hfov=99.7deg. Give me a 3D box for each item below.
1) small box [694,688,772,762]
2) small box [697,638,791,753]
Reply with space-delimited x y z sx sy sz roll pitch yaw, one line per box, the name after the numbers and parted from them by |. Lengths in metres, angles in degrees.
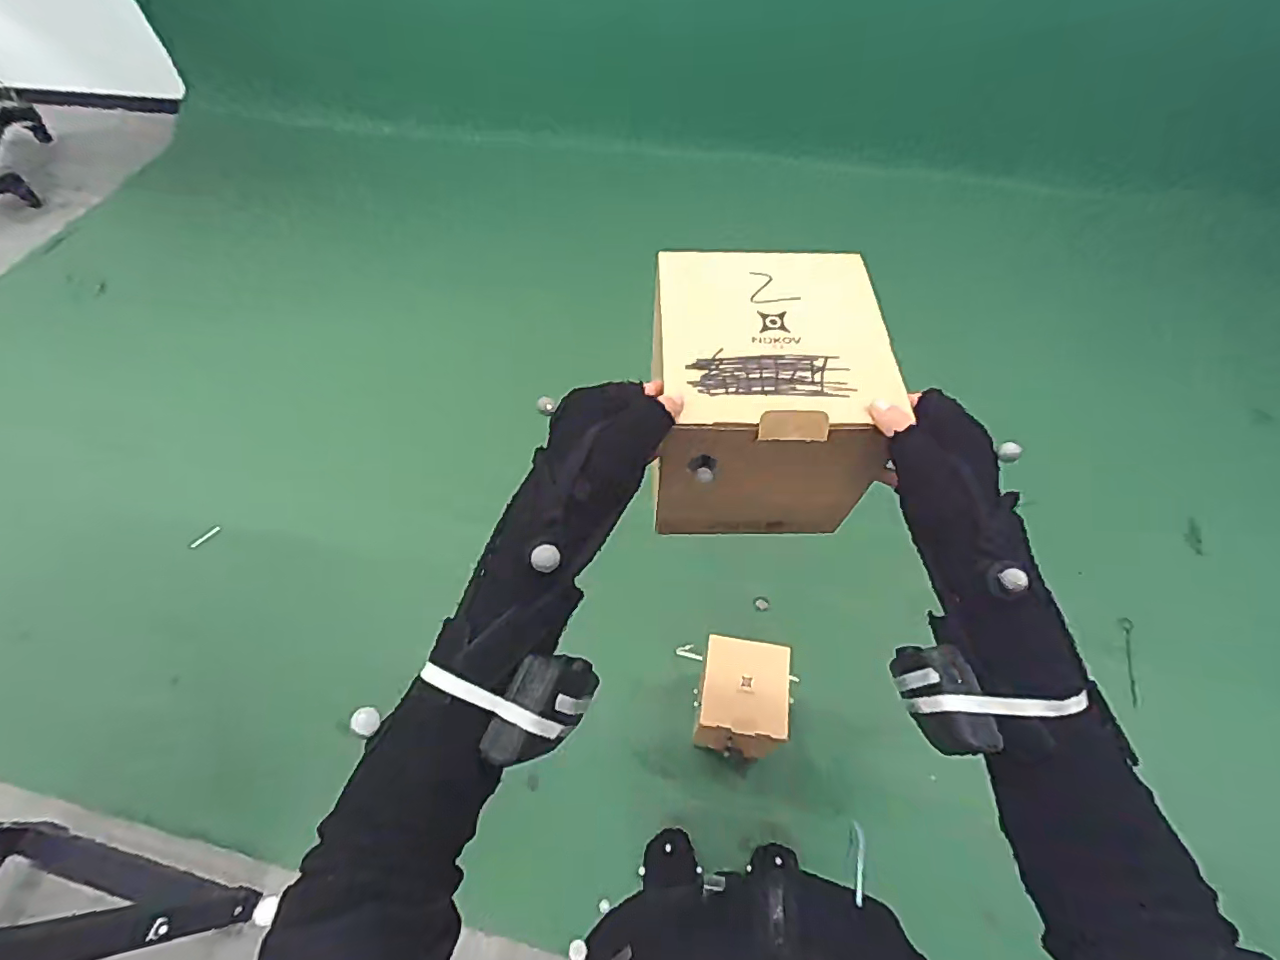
0.220 0.540 1.262 0.168 0.176 0.179 8 58 8 | small box
0.212 0.451 1.125 0.168 0.176 0.179 7 58 7 | small box
